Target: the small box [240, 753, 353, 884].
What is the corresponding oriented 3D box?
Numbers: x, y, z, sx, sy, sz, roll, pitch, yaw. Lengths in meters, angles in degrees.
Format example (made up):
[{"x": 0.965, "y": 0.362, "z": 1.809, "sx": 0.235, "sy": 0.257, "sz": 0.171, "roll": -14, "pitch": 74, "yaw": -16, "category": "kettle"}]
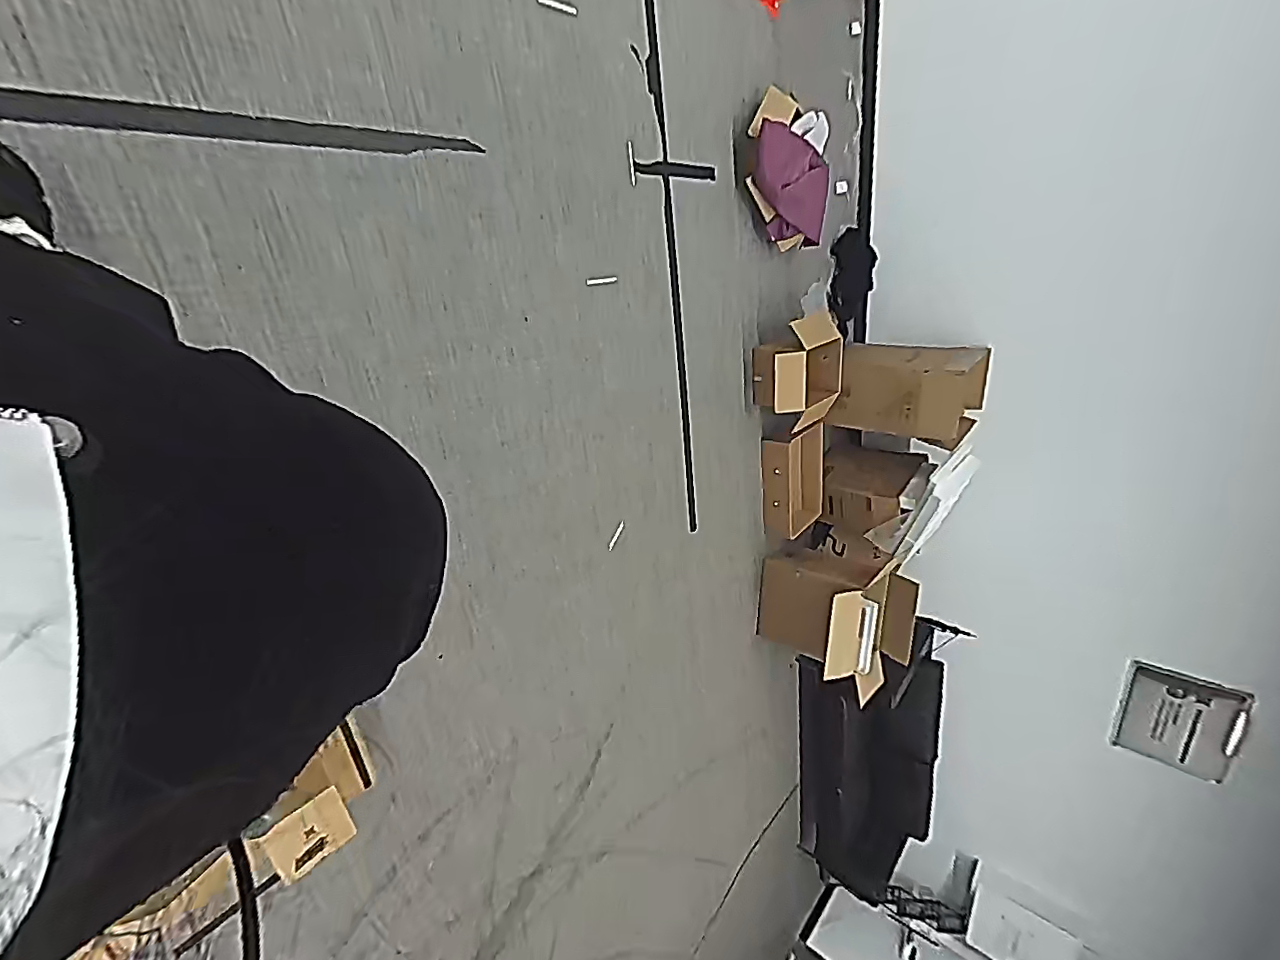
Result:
[{"x": -0.838, "y": 0.816, "z": 1.322, "sx": 0.168, "sy": 0.176, "sz": 0.179, "roll": -28, "pitch": 120, "yaw": -40, "category": "small box"}]
